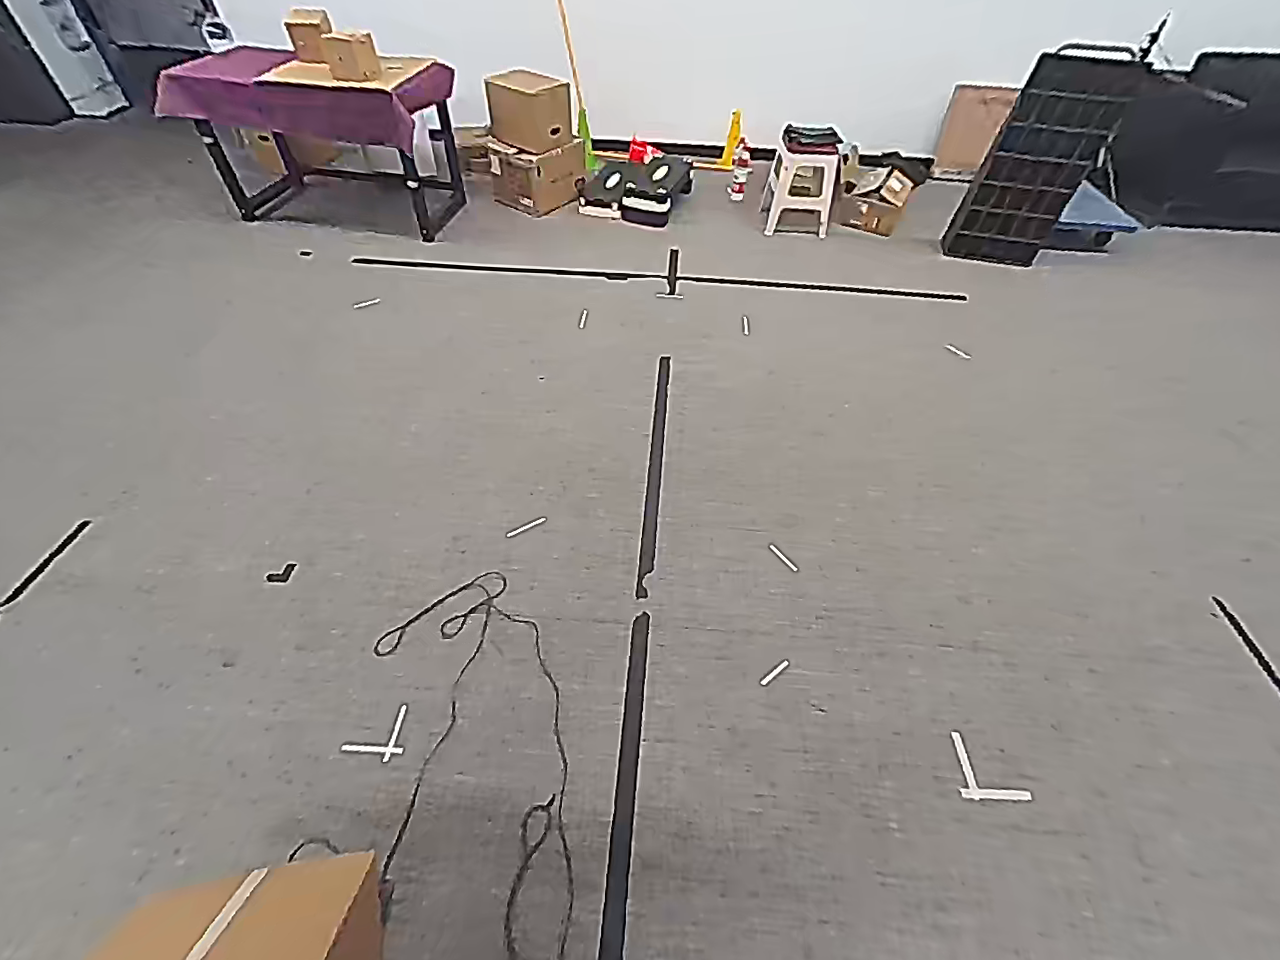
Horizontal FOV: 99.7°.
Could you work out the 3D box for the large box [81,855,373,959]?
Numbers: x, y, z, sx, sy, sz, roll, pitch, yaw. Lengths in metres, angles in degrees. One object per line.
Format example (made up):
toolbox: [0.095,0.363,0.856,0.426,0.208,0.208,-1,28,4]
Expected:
large box: [-0.519,0.732,0.617,0.320,0.408,0.320,-4,89,-10]
